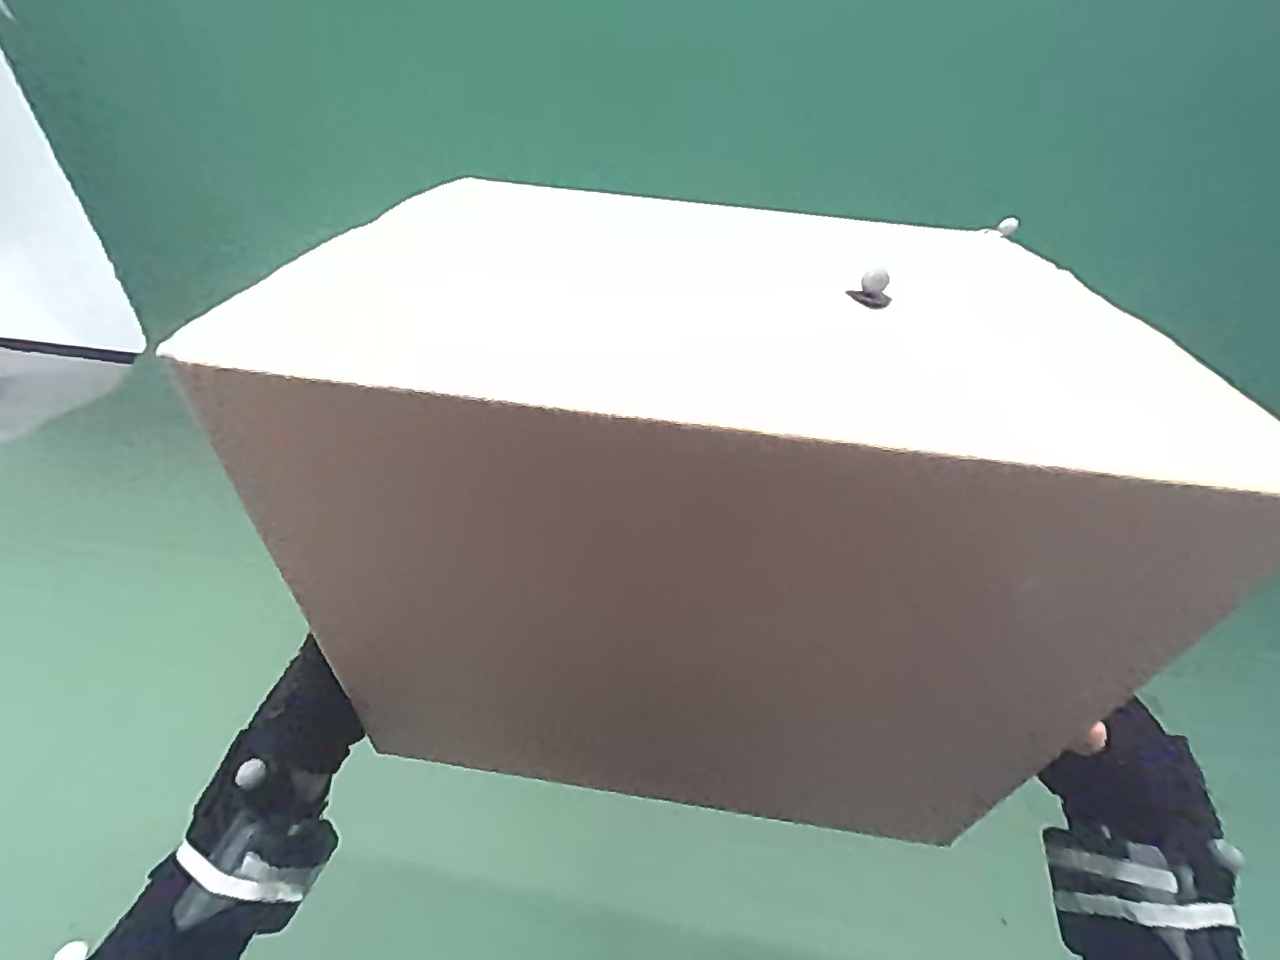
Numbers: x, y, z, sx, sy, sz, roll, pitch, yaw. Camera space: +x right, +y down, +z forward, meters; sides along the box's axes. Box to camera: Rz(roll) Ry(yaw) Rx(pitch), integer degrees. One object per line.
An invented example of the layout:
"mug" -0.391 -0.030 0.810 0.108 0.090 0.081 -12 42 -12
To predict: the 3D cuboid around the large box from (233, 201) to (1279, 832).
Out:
"large box" 0.043 0.010 0.404 0.408 0.320 0.320 8 39 3
